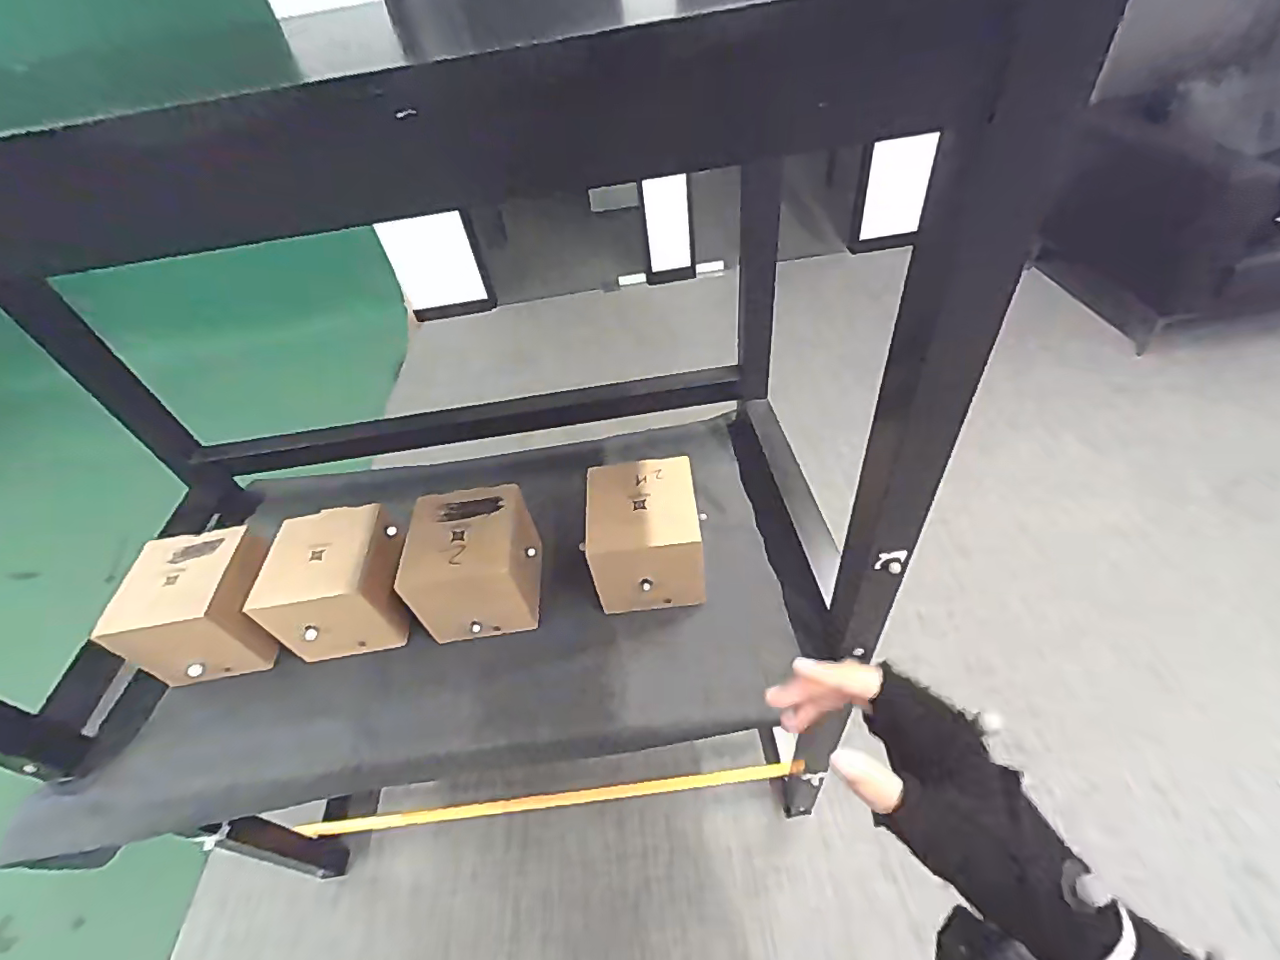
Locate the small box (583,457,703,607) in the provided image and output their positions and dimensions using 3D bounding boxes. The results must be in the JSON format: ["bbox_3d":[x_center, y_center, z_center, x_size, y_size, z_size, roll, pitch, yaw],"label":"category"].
[{"bbox_3d":[0.008,0.090,0.866,0.168,0.176,0.179,-6,45,3],"label":"small box"}]

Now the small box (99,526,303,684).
[{"bbox_3d":[-0.692,0.204,0.883,0.168,0.176,0.179,-11,46,0],"label":"small box"}]
